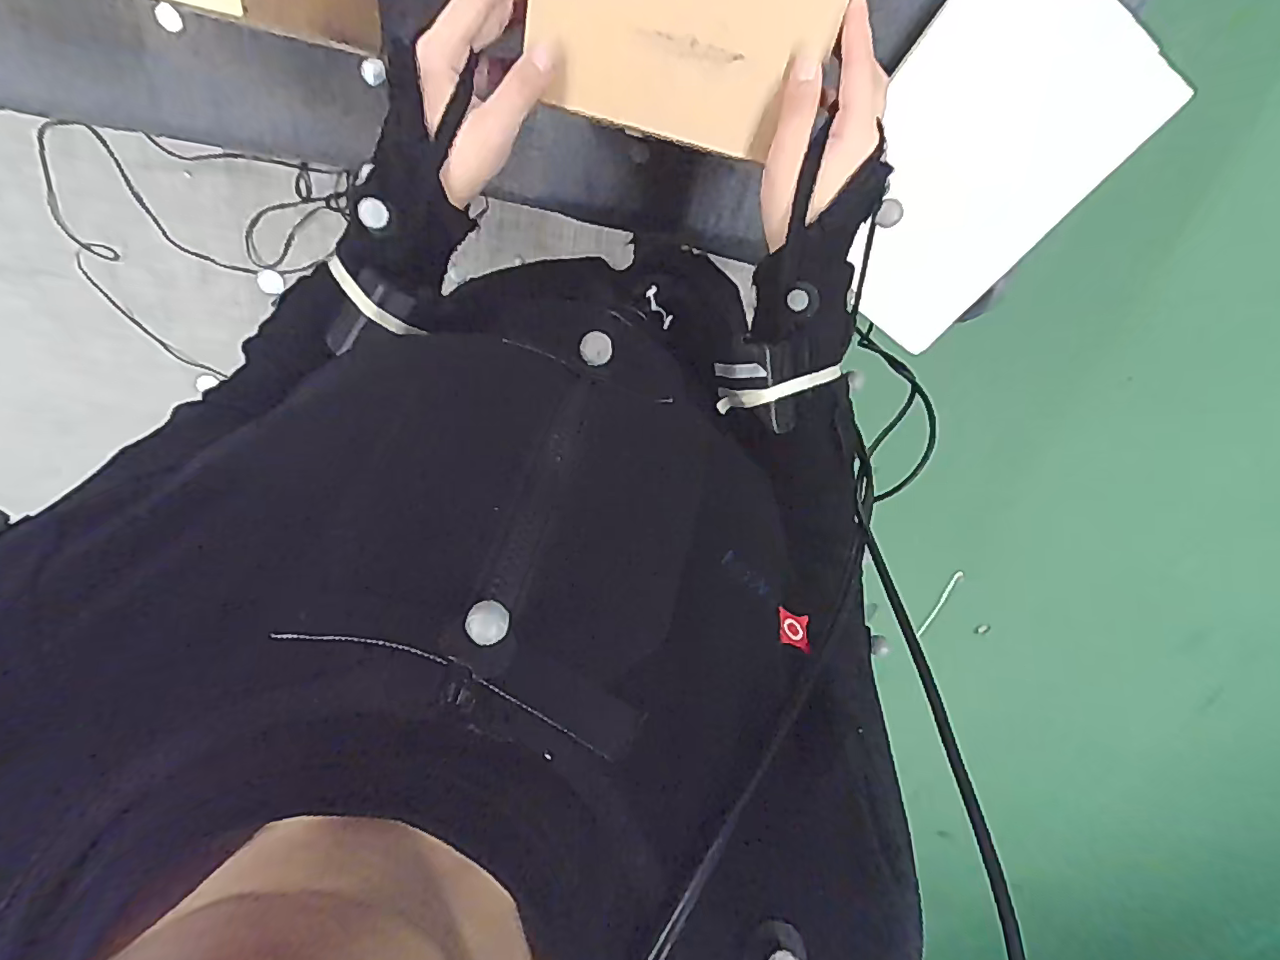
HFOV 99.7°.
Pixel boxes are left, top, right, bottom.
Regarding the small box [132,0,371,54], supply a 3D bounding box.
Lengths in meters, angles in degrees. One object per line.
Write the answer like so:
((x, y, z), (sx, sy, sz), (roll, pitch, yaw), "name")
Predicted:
((-0.283, -0.390, 0.327), (0.168, 0.176, 0.179), (12, 121, -3), "small box")

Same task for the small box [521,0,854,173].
((0.033, -0.309, 0.332), (0.168, 0.176, 0.179), (12, 122, -5), "small box")
